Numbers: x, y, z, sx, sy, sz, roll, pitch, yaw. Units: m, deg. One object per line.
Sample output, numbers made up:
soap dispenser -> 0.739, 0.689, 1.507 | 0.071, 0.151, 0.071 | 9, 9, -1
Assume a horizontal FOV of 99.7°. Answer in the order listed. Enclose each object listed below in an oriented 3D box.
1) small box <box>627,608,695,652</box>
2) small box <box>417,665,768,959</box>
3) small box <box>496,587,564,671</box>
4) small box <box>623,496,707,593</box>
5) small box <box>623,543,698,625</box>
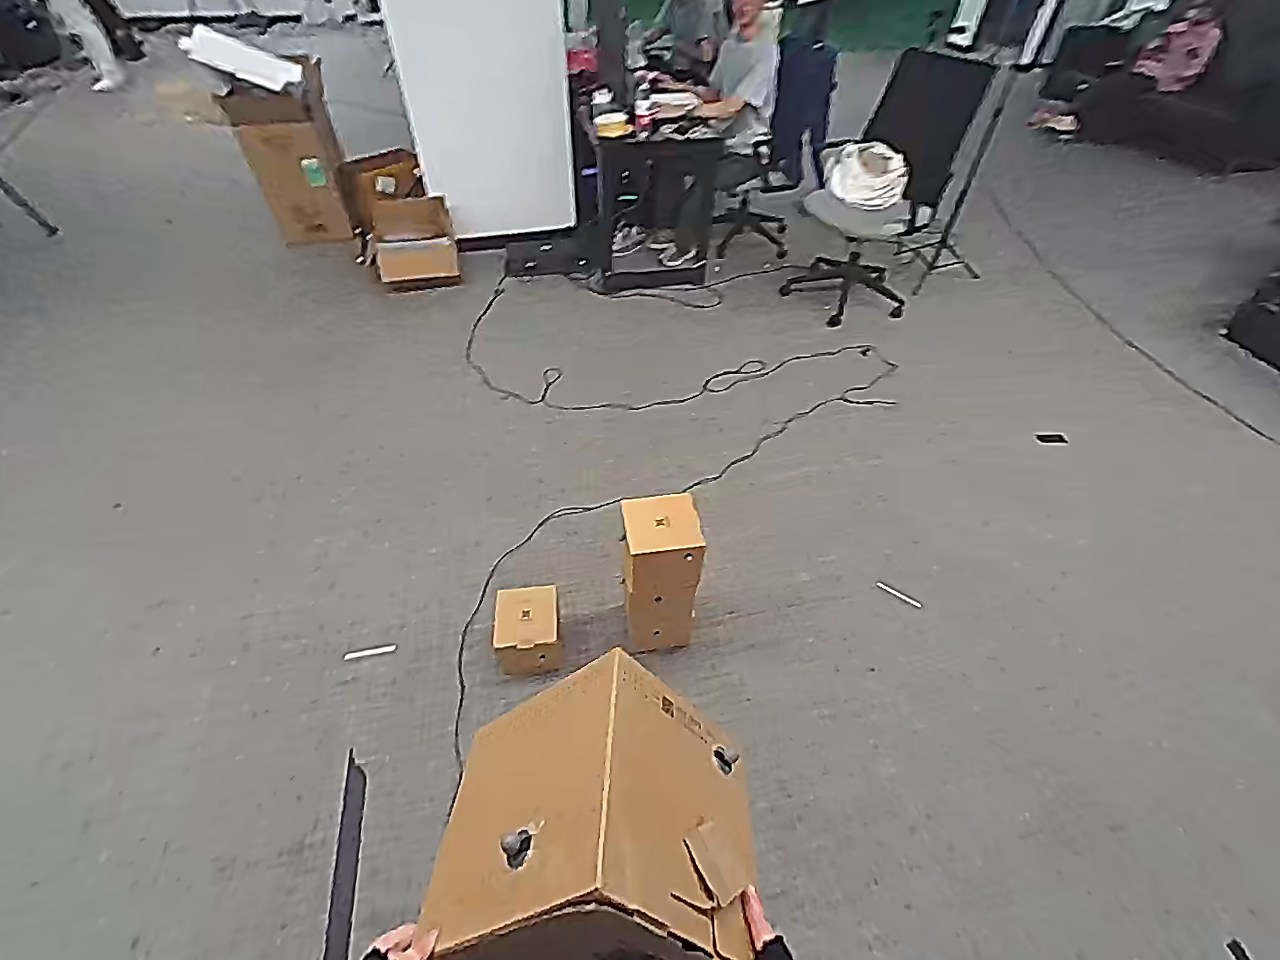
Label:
small box -> 0.055, 0.382, 1.567 | 0.179, 0.176, 0.168 | -6, 48, -7
small box -> -0.030, 0.277, 0.418 | 0.179, 0.168, 0.176 | -37, 23, 22
small box -> -0.302, 0.424, 1.520 | 0.168, 0.176, 0.179 | -3, 47, -5
small box -> 0.055, 0.162, 1.324 | 0.179, 0.176, 0.168 | -6, 47, -8
small box -> 0.049, 0.273, 1.443 | 0.179, 0.176, 0.168 | -4, 48, -6
